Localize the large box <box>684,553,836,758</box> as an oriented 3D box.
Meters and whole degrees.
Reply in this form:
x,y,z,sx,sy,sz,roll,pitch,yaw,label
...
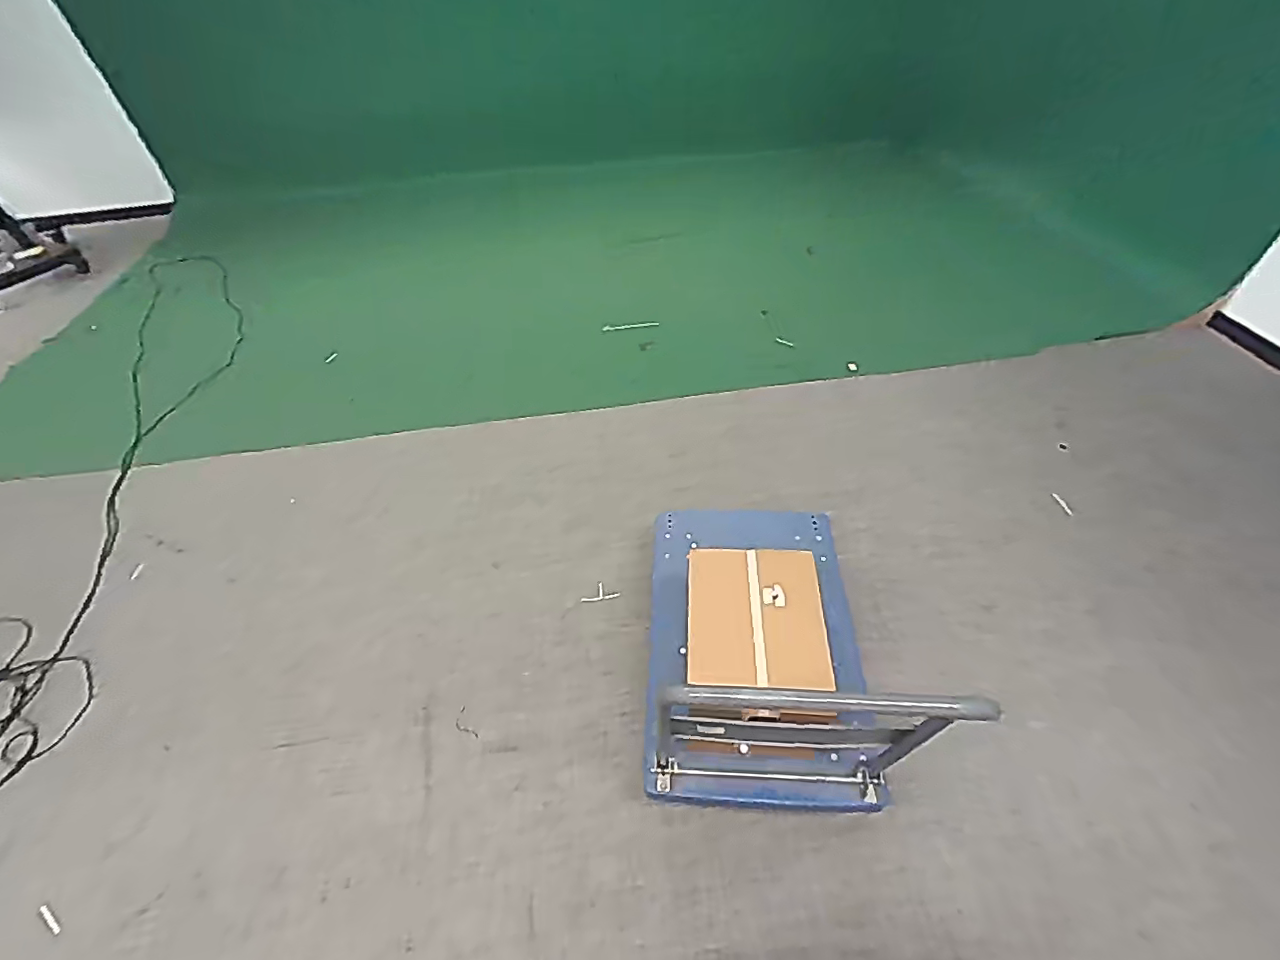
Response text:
x,y,z,sx,sy,sz,roll,pitch,yaw,label
0.268,0.439,1.358,0.320,0.320,0.408,1,46,4,large box
